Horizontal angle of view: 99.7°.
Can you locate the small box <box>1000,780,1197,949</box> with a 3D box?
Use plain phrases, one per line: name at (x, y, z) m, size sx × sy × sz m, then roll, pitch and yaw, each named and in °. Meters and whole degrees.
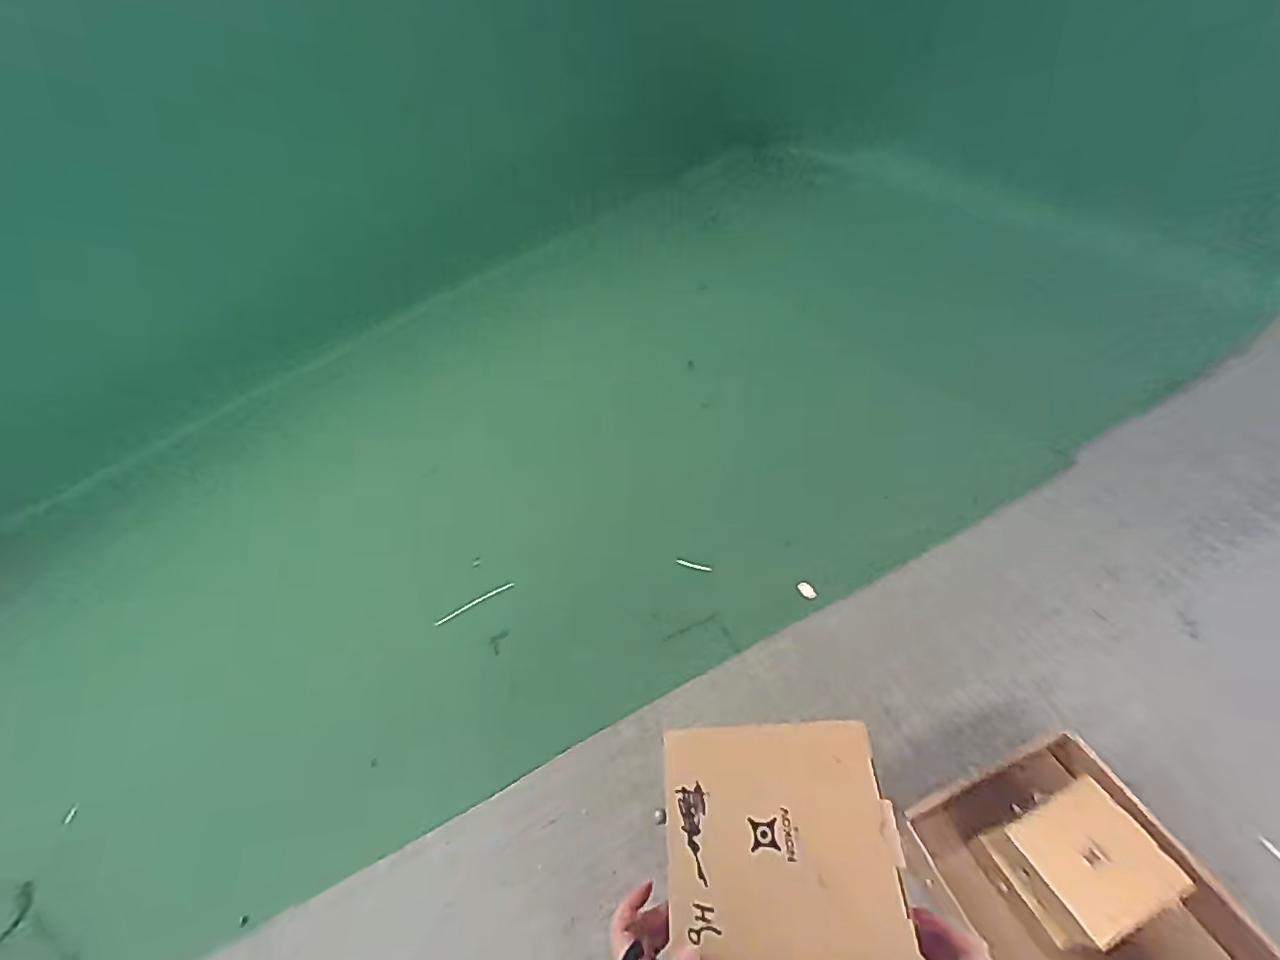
small box at (0.735, 0.637, 0.896) m, size 0.179 × 0.176 × 0.168 m, roll -29°, pitch 48°, yaw -4°
